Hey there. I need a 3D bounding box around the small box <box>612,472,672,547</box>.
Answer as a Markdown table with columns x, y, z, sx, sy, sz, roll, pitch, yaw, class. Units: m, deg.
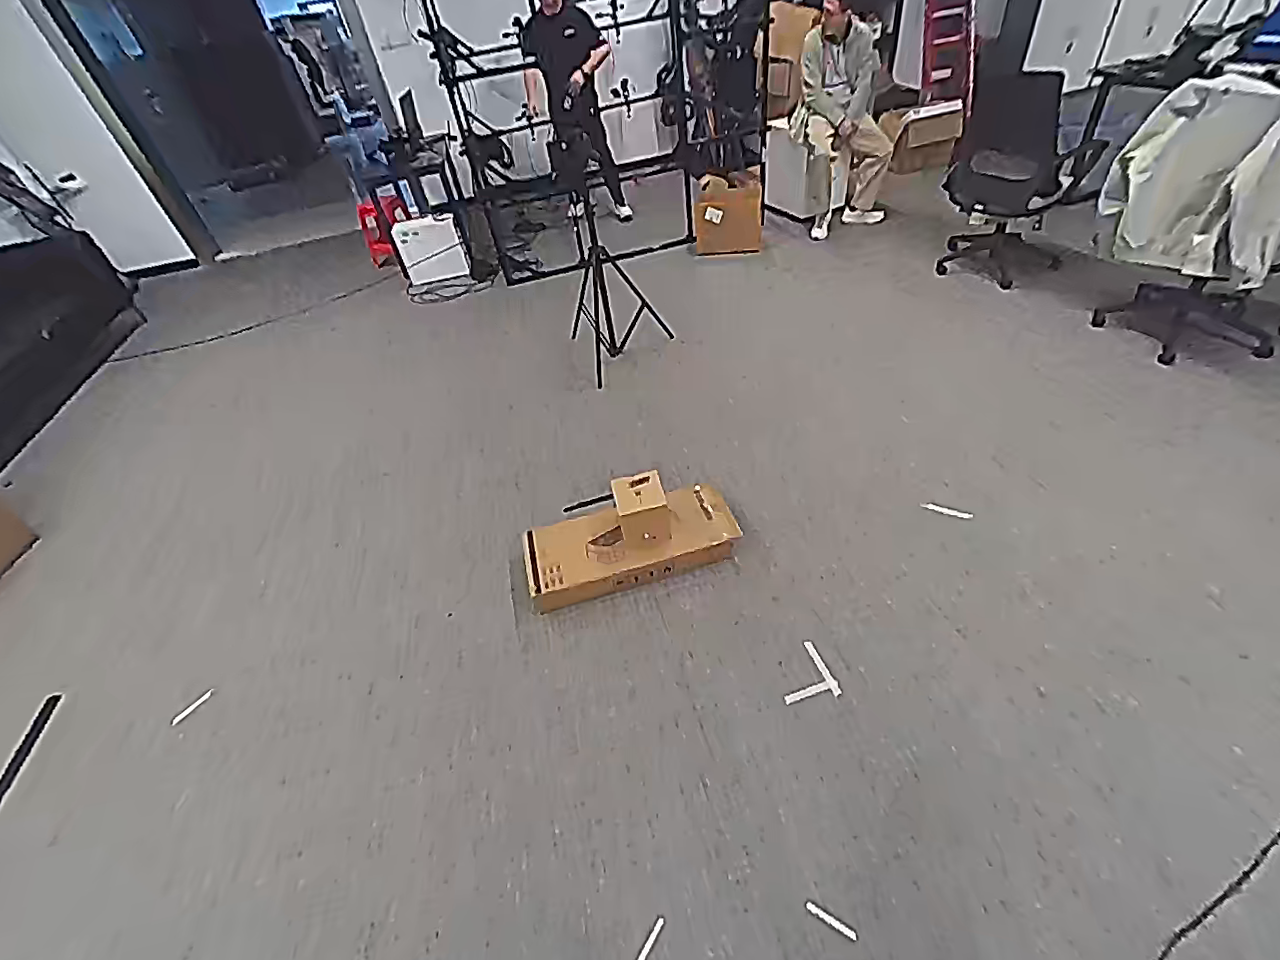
| x | y | z | sx | sy | sz | roll | pitch | yaw | class |
| --- | --- | --- | --- | --- | --- | --- | --- | --- | --- |
| 0.007 | 0.104 | 1.867 | 0.168 | 0.176 | 0.179 | -14 | 43 | -3 | small box |
